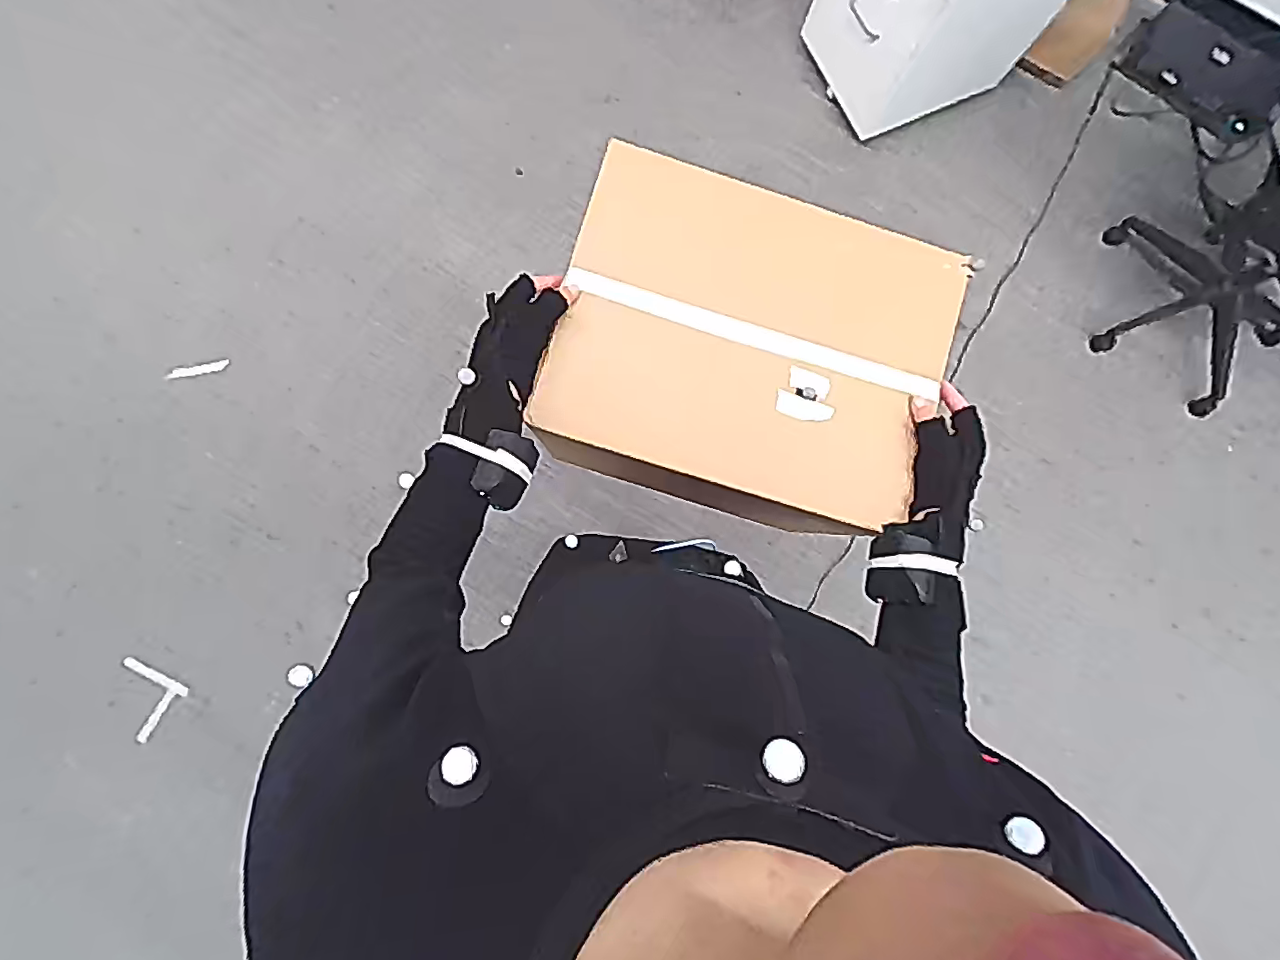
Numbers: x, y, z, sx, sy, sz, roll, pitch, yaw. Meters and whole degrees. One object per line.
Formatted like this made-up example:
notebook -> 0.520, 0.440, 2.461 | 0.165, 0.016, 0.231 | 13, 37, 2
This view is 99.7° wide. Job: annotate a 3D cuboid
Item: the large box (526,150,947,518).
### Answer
large box -> 0.098, -0.147, 0.722 | 0.408, 0.320, 0.320 | 17, 86, -3
